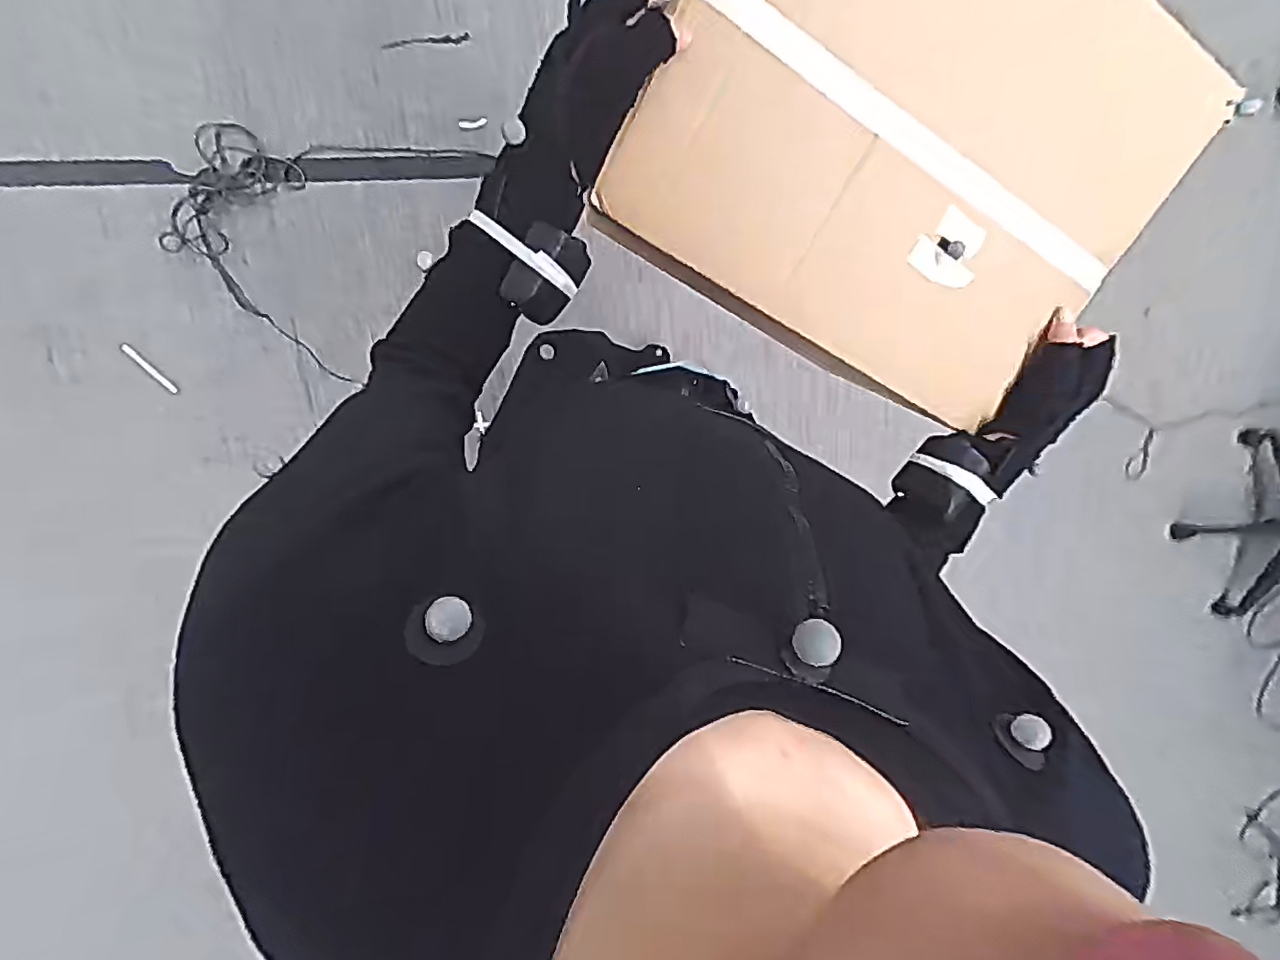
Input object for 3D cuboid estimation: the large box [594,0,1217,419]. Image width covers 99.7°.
[{"bbox_3d":[0.197,-0.317,0.556,0.408,0.320,0.320,25,109,-16],"label":"large box"}]
